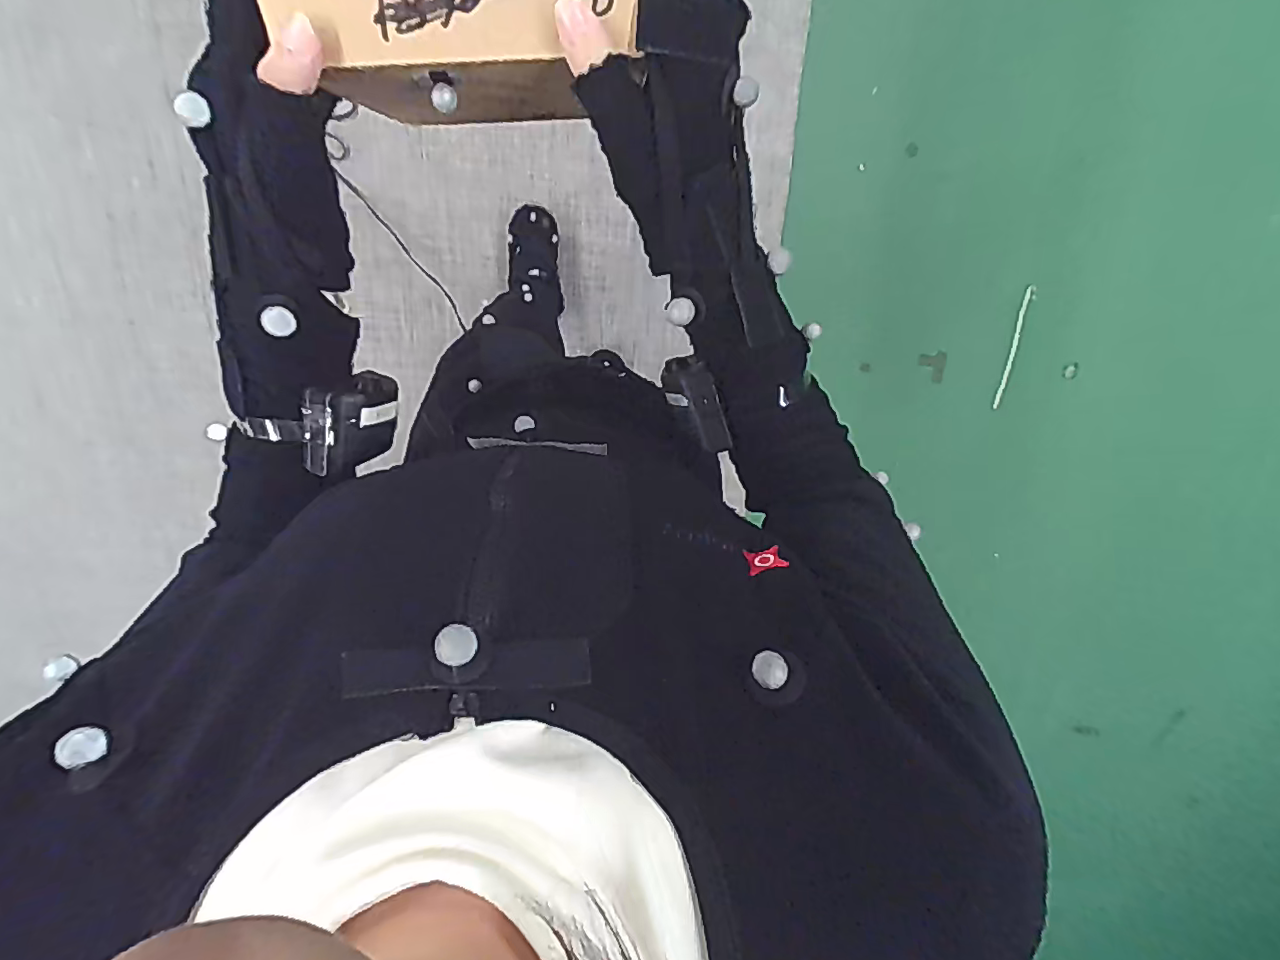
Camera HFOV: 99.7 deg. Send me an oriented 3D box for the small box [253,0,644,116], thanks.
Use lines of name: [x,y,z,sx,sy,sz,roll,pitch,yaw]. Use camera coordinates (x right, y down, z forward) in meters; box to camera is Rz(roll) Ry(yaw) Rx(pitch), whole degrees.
small box: [-0.088,-0.304,0.271,0.168,0.176,0.179,-4,115,-2]

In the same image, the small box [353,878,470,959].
small box: [-0.426,0.889,1.020,0.168,0.176,0.179,0,109,-3]
